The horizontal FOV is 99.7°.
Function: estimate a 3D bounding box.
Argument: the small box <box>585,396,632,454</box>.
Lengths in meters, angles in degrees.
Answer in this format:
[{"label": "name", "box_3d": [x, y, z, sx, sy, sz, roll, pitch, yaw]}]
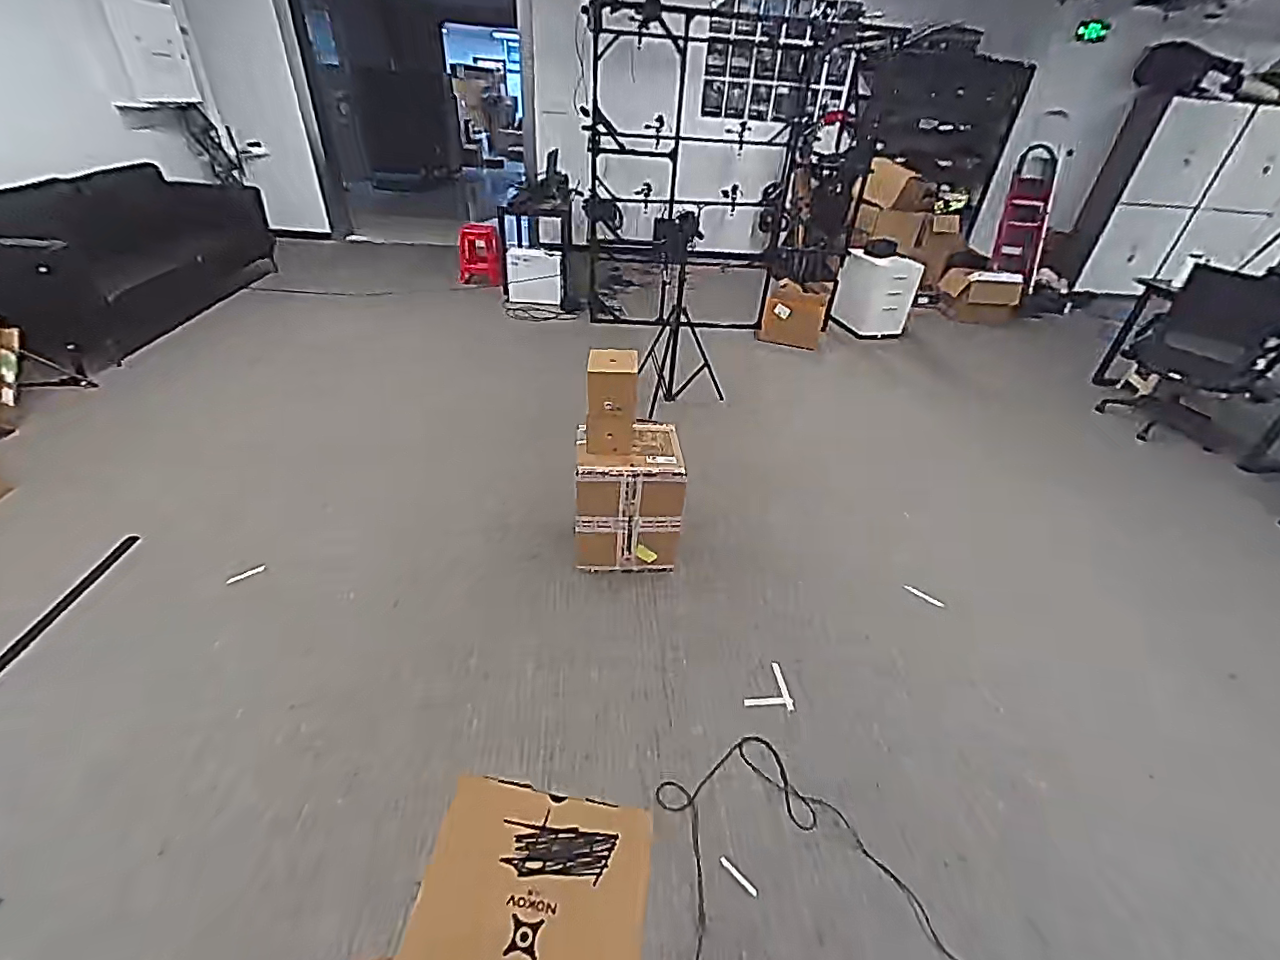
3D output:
[{"label": "small box", "box_3d": [-0.111, -0.209, 1.973, 0.168, 0.176, 0.179, 1, 38, -2]}]

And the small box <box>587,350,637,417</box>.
[{"label": "small box", "box_3d": [-0.095, -0.334, 1.869, 0.168, 0.176, 0.179, 0, 38, -2]}]

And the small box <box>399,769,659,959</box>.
[{"label": "small box", "box_3d": [-0.089, 0.371, 0.432, 0.168, 0.176, 0.179, 13, 38, -1]}]
